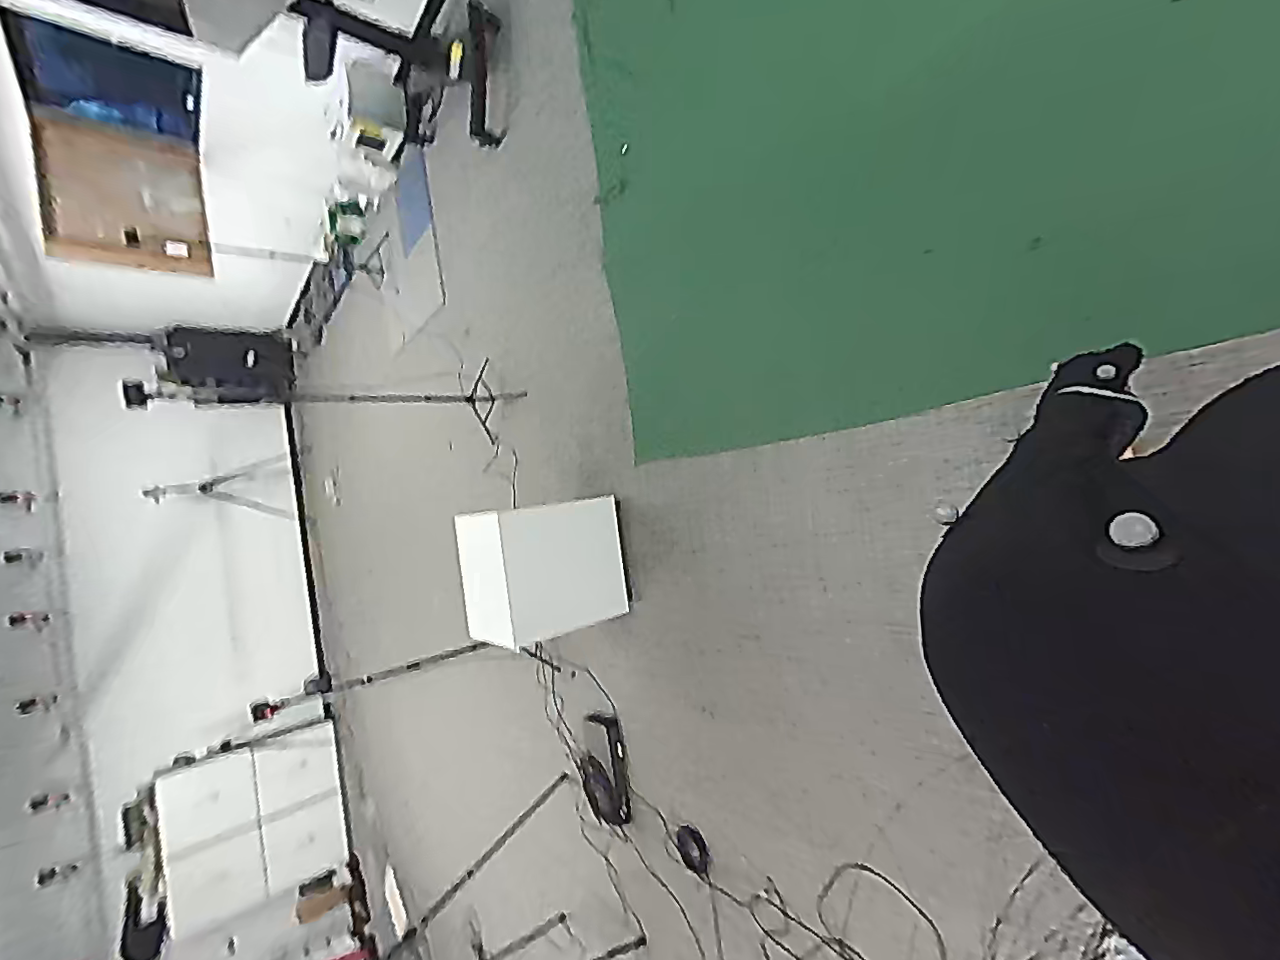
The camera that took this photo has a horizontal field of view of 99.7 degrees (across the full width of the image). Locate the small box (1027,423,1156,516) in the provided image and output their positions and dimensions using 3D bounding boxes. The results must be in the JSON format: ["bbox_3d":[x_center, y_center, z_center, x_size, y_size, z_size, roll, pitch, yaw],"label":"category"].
[{"bbox_3d":[0.935,-0.022,1.116,0.179,0.176,0.168,-12,86,48],"label":"small box"}]
